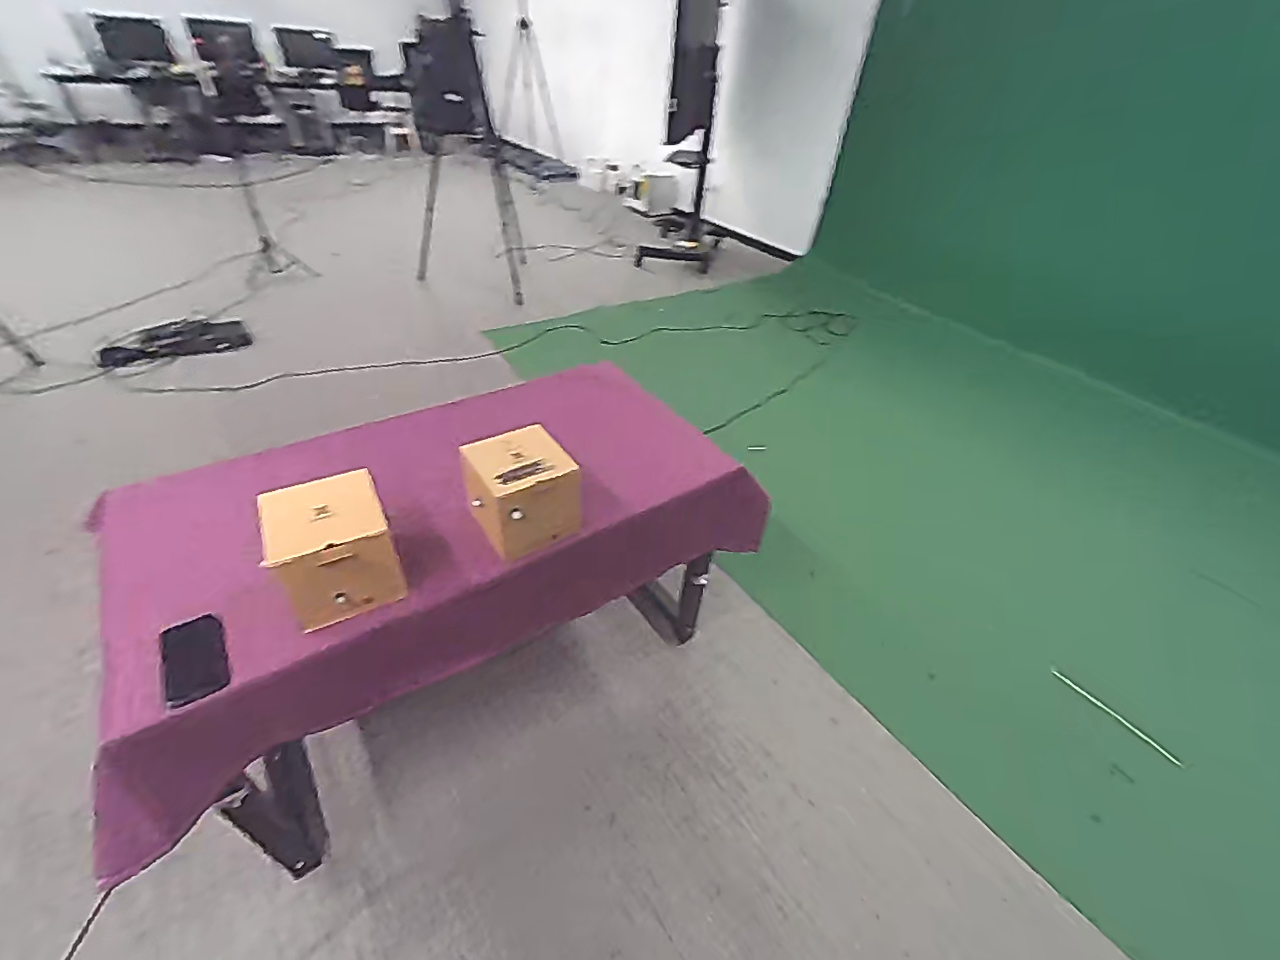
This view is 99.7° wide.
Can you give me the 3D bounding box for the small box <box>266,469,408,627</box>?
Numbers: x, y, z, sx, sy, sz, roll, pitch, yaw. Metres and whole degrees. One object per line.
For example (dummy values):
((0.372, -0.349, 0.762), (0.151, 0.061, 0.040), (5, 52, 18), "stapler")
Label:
((-0.508, 0.112, 0.915), (0.168, 0.176, 0.179), (-17, 46, -27), "small box")
